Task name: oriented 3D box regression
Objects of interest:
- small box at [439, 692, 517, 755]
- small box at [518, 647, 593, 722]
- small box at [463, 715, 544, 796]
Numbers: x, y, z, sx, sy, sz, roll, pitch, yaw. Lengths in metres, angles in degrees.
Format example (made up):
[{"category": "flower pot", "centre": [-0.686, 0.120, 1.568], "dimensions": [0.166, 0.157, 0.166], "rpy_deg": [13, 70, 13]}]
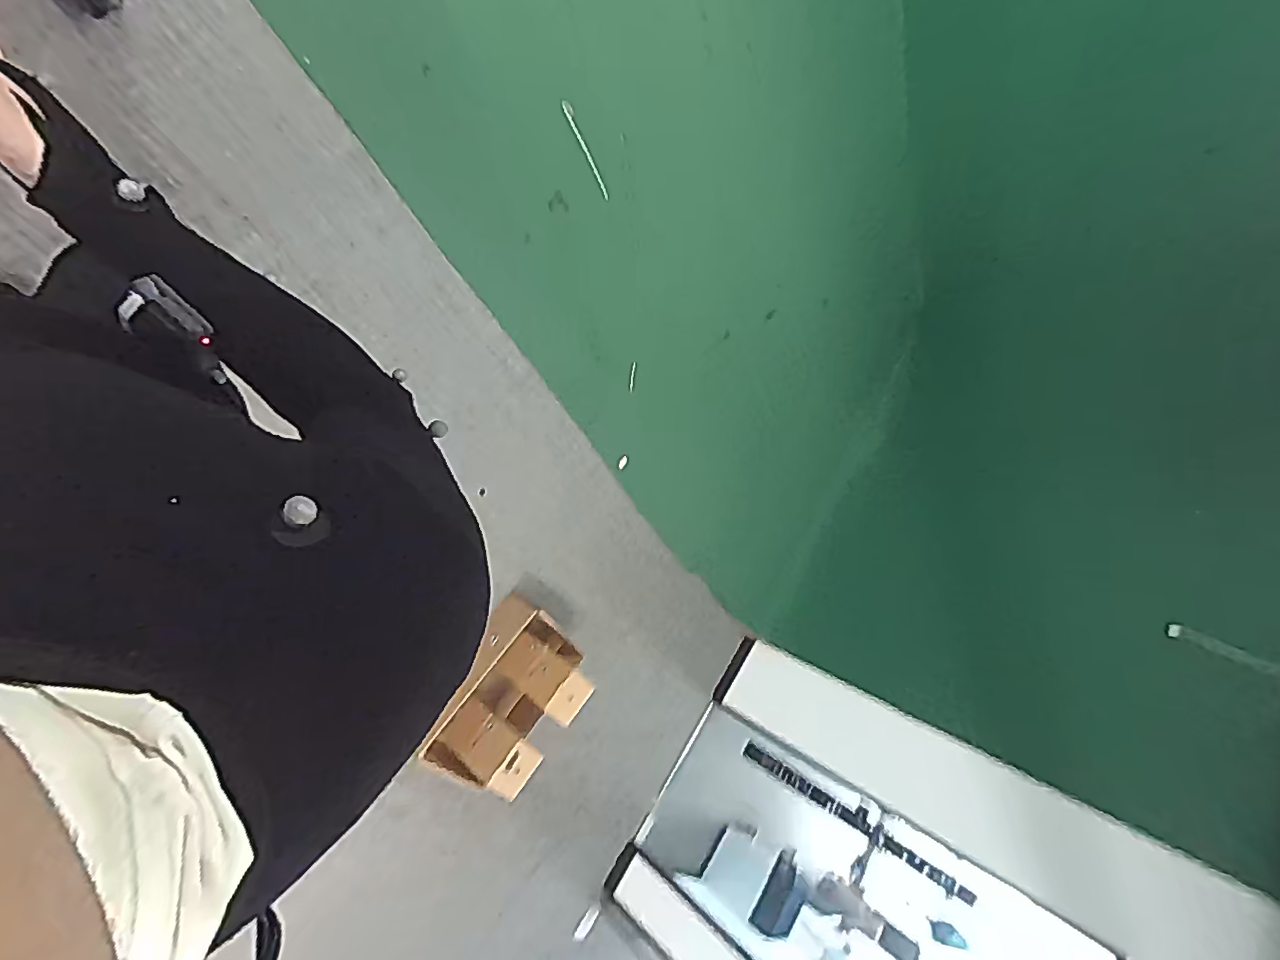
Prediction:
[{"category": "small box", "centre": [-0.593, 0.908, 1.976], "dimensions": [0.168, 0.176, 0.179], "rpy_deg": [-52, 135, -23]}, {"category": "small box", "centre": [-0.308, 0.743, 1.979], "dimensions": [0.168, 0.176, 0.179], "rpy_deg": [-50, 135, -22]}, {"category": "small box", "centre": [-0.474, 0.946, 1.870], "dimensions": [0.168, 0.176, 0.179], "rpy_deg": [-51, 136, -24]}]
